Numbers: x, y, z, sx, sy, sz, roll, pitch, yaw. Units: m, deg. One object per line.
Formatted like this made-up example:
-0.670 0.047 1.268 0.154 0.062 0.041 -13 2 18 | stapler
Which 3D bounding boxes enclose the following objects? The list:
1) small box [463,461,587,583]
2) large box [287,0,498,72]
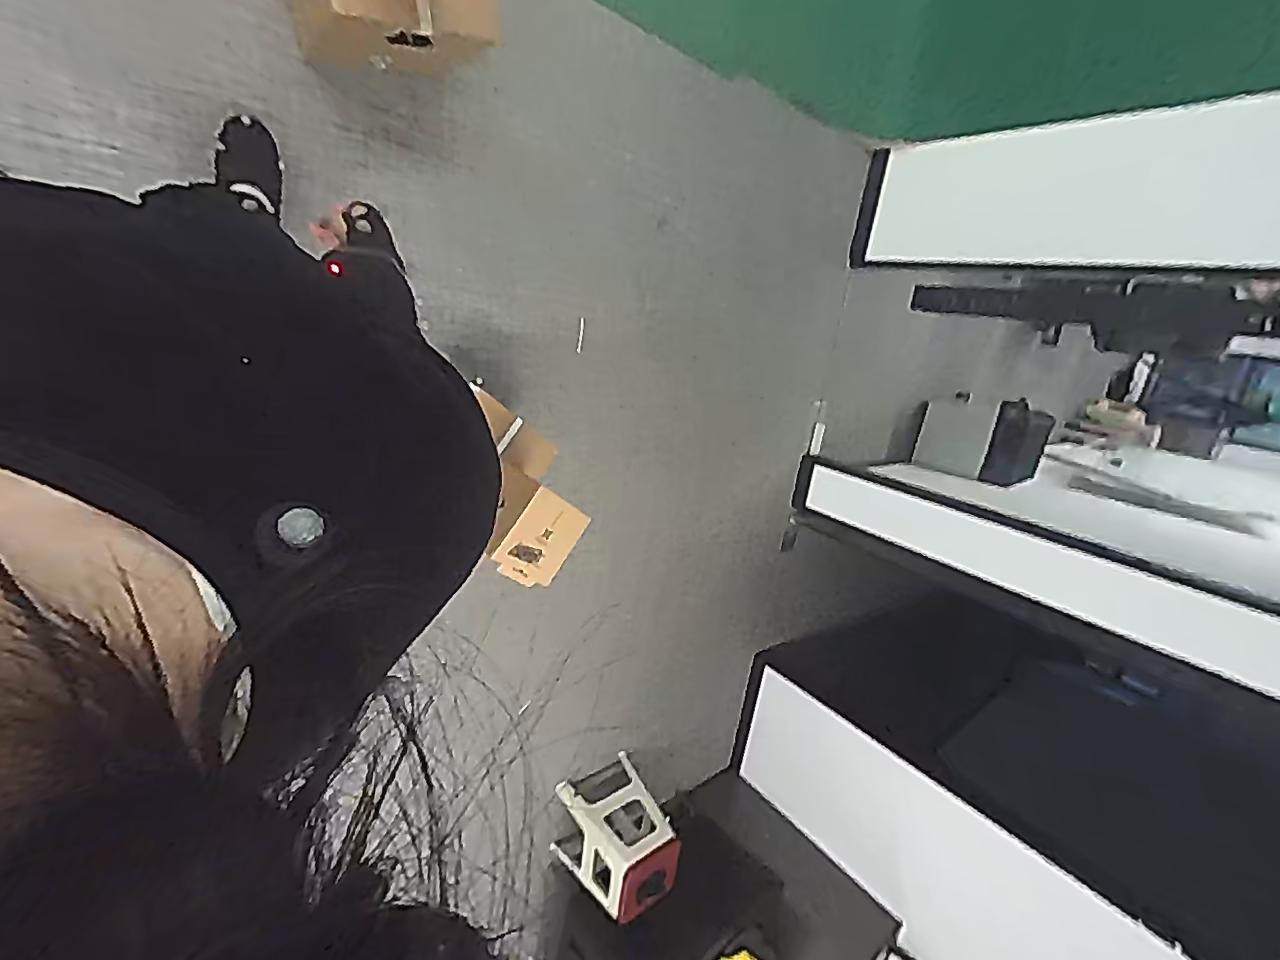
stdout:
-0.254 0.087 1.163 0.179 0.176 0.168 -56 135 -9 | small box
-0.504 -1.056 1.015 0.320 0.320 0.408 -21 120 -35 | large box
